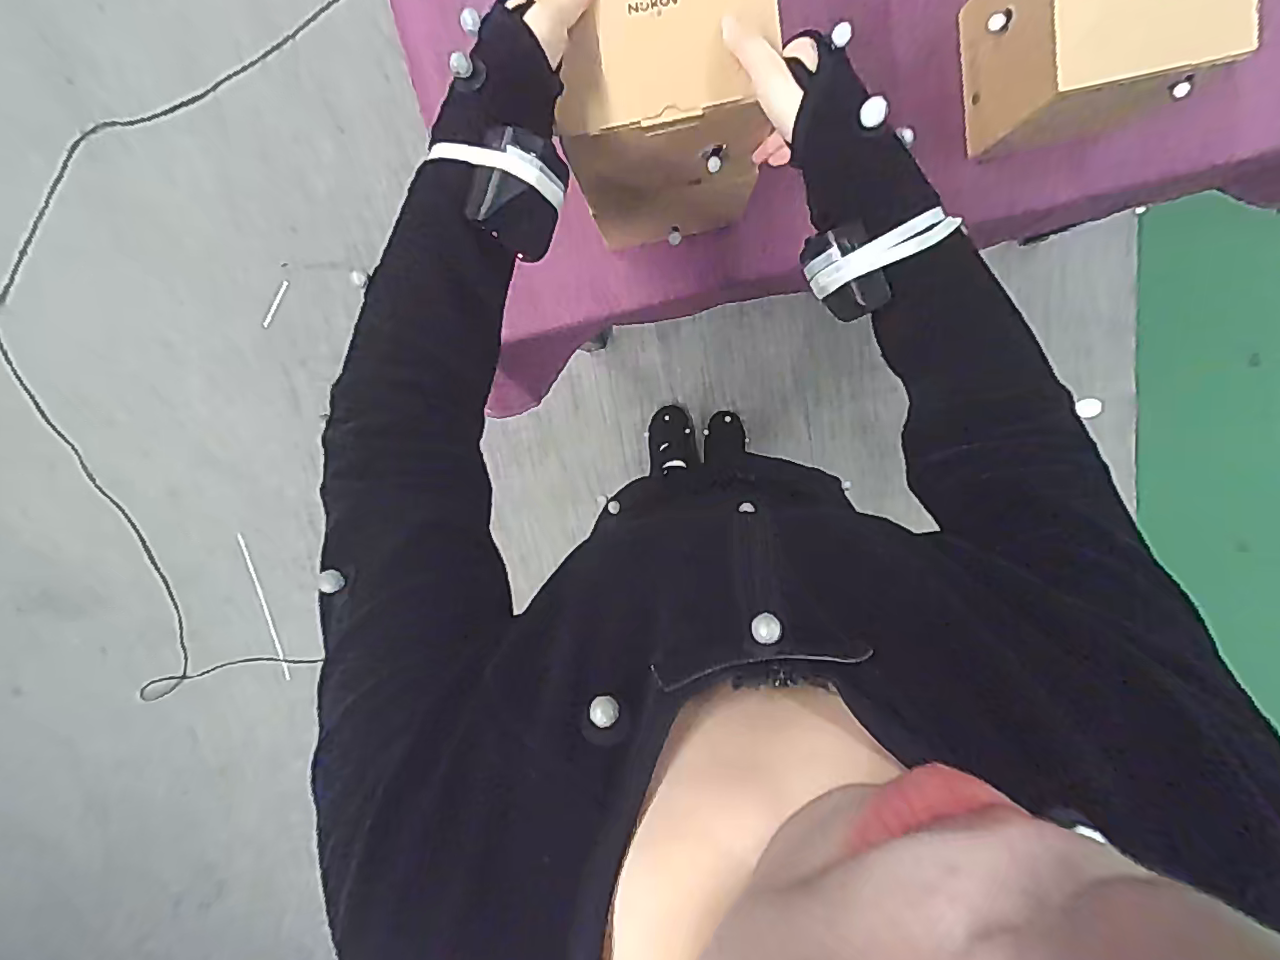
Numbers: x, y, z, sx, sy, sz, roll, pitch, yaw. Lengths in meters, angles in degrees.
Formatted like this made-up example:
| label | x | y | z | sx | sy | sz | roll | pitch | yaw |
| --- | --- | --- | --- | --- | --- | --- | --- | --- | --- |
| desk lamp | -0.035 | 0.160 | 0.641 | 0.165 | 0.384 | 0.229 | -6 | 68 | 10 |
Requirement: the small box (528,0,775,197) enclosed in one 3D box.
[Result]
| label | x | y | z | sx | sy | sz | roll | pitch | yaw |
| --- | --- | --- | --- | --- | --- | --- | --- | --- | --- |
| small box | 0.009 | -0.355 | 0.447 | 0.168 | 0.176 | 0.179 | -8 | 99 | 5 |

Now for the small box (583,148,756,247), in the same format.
| label | x | y | z | sx | sy | sz | roll | pitch | yaw |
| --- | --- | --- | --- | --- | --- | --- | --- | --- | --- |
| small box | 0.021 | -0.380 | 0.609 | 0.179 | 0.176 | 0.168 | -10 | 99 | 5 |

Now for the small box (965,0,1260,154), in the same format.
| label | x | y | z | sx | sy | sz | roll | pitch | yaw |
| --- | --- | --- | --- | --- | --- | --- | --- | --- | --- |
| small box | 0.462 | -0.468 | 0.559 | 0.179 | 0.176 | 0.168 | -9 | 100 | 5 |
